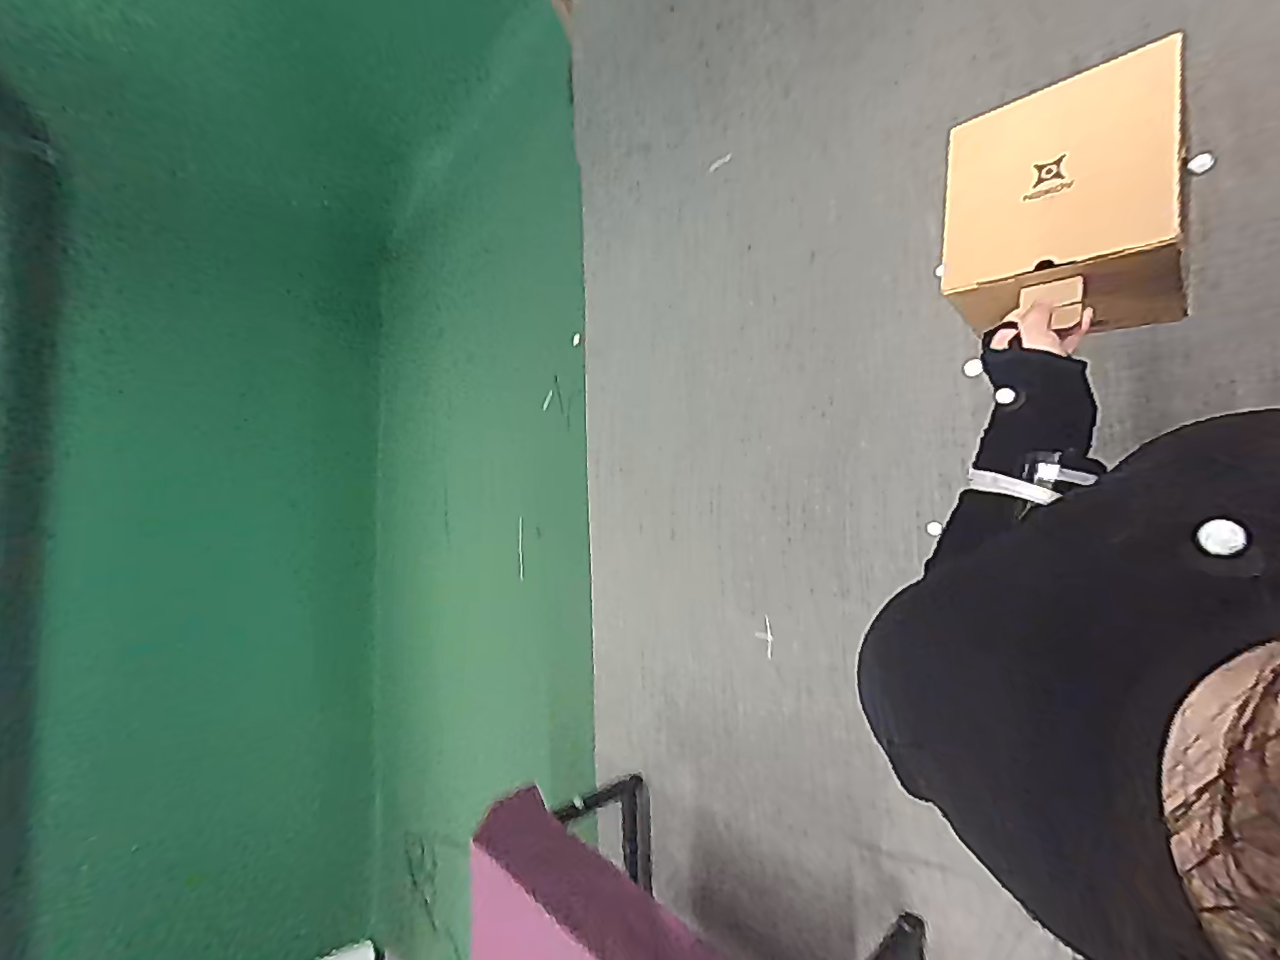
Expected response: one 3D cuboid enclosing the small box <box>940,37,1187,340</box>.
[{"bbox_3d":[0.415,-0.258,0.531,0.168,0.176,0.179,2,84,45],"label":"small box"}]
